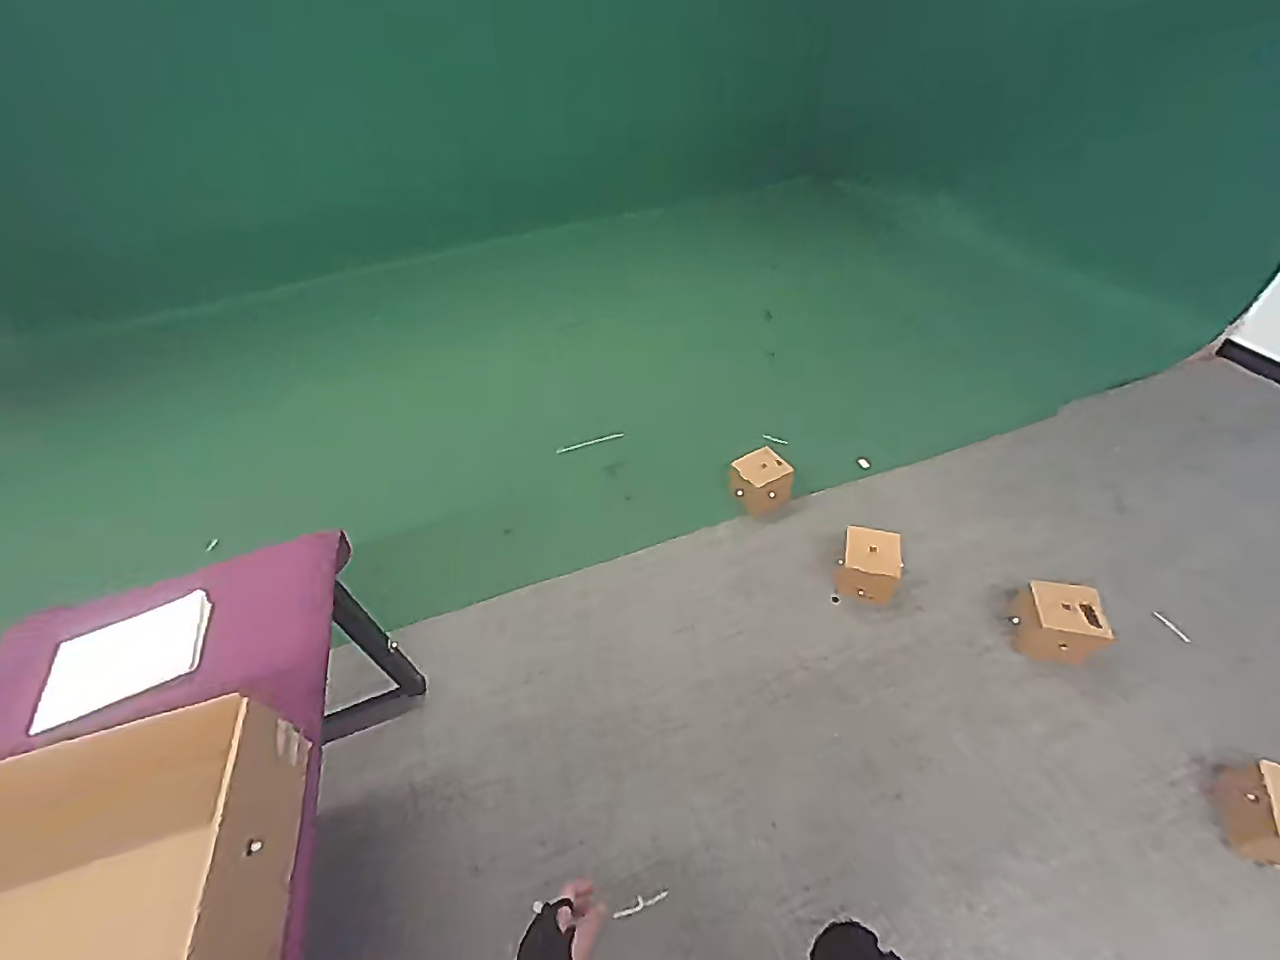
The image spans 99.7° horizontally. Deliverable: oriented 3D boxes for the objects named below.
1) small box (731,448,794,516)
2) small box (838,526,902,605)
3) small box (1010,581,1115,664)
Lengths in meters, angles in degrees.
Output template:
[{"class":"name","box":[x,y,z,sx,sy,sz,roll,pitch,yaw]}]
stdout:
[{"class":"small box","box":[0.470,0.011,2.087,0.179,0.176,0.168,-25,48,-16]},{"class":"small box","box":[0.758,0.284,1.789,0.168,0.176,0.179,9,49,15]},{"class":"small box","box":[1.233,0.422,1.592,0.179,0.176,0.168,6,47,14]}]
